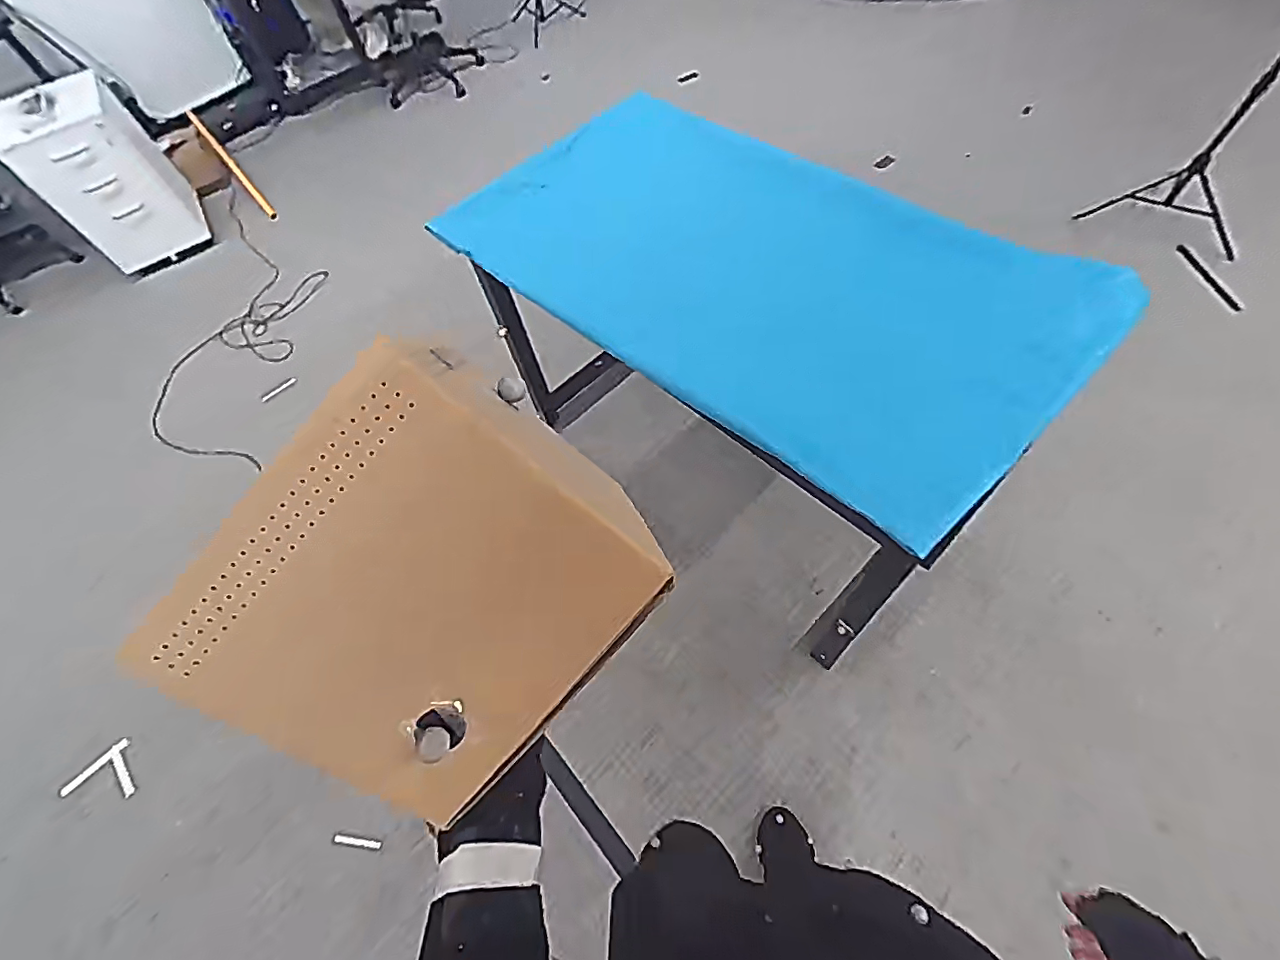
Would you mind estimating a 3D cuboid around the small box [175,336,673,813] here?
[{"bbox_3d":[-0.115,0.039,0.321,0.179,0.176,0.168,-49,19,3],"label":"small box"}]
